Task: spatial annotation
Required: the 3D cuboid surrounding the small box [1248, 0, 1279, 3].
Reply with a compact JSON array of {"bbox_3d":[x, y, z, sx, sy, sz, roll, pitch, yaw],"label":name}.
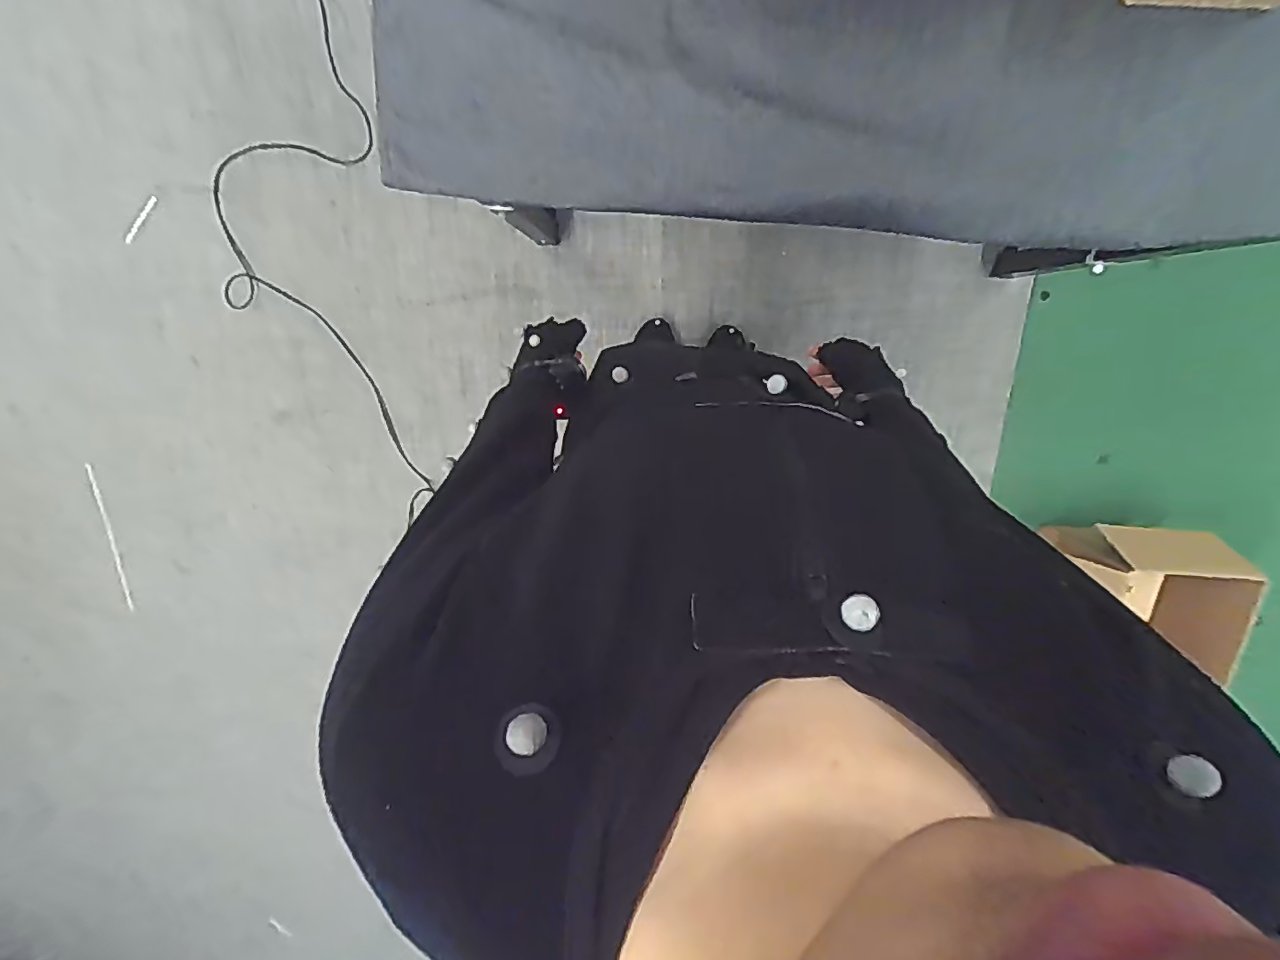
[{"bbox_3d":[0.601,-0.563,0.471,0.168,0.176,0.179,3,106,1],"label":"small box"}]
